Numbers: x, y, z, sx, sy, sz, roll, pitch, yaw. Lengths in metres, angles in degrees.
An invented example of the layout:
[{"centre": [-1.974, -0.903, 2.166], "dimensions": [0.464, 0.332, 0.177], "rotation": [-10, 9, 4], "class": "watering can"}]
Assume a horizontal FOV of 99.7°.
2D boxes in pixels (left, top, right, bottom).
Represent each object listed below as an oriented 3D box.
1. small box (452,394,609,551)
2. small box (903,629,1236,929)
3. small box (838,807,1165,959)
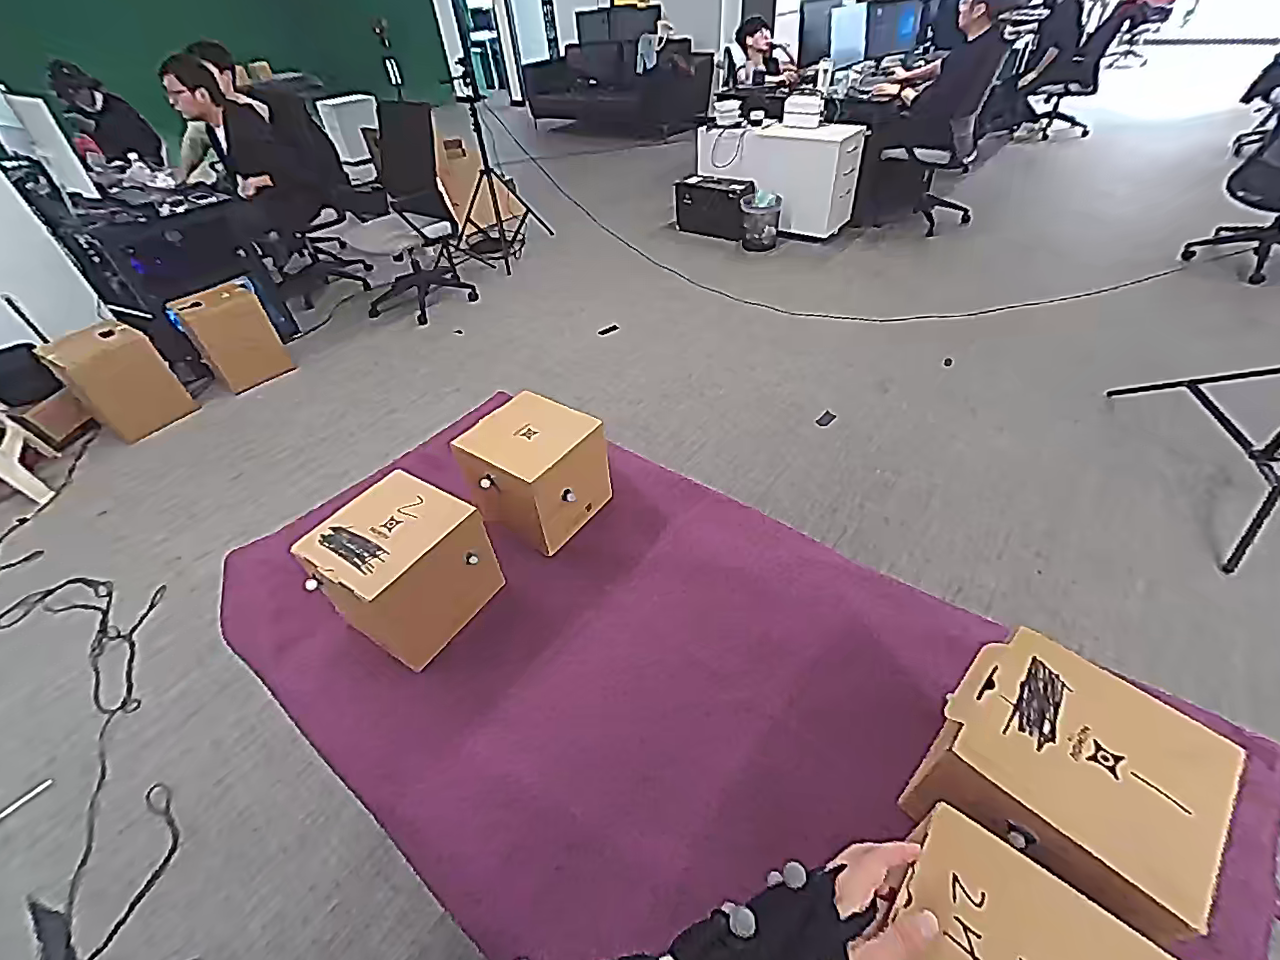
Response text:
[{"centre": [-0.167, -0.009, 0.887], "dimensions": [0.179, 0.176, 0.168], "rotation": [24, 50, 27], "class": "small box"}, {"centre": [0.384, 0.286, 0.514], "dimensions": [0.168, 0.176, 0.179], "rotation": [-37, 53, -28], "class": "small box"}, {"centre": [0.258, 0.399, 0.406], "dimensions": [0.179, 0.176, 0.168], "rotation": [28, 51, 31], "class": "small box"}]
